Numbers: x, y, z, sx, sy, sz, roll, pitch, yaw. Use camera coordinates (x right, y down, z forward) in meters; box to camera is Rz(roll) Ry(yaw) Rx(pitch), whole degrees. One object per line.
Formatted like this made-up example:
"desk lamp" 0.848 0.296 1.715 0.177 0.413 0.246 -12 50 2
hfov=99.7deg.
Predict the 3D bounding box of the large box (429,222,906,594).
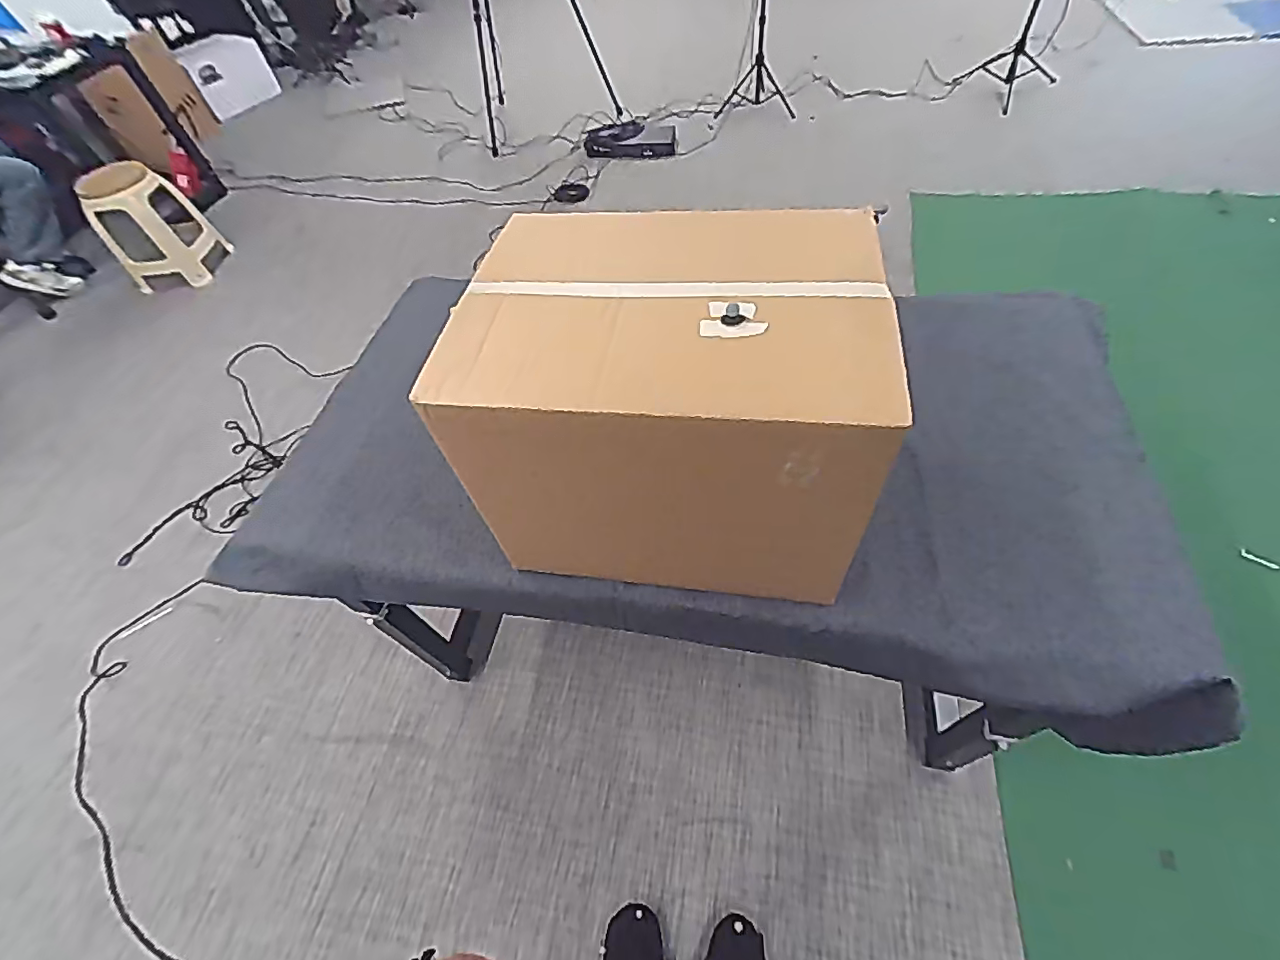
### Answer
"large box" 0.041 -0.083 0.646 0.408 0.320 0.320 4 54 9
